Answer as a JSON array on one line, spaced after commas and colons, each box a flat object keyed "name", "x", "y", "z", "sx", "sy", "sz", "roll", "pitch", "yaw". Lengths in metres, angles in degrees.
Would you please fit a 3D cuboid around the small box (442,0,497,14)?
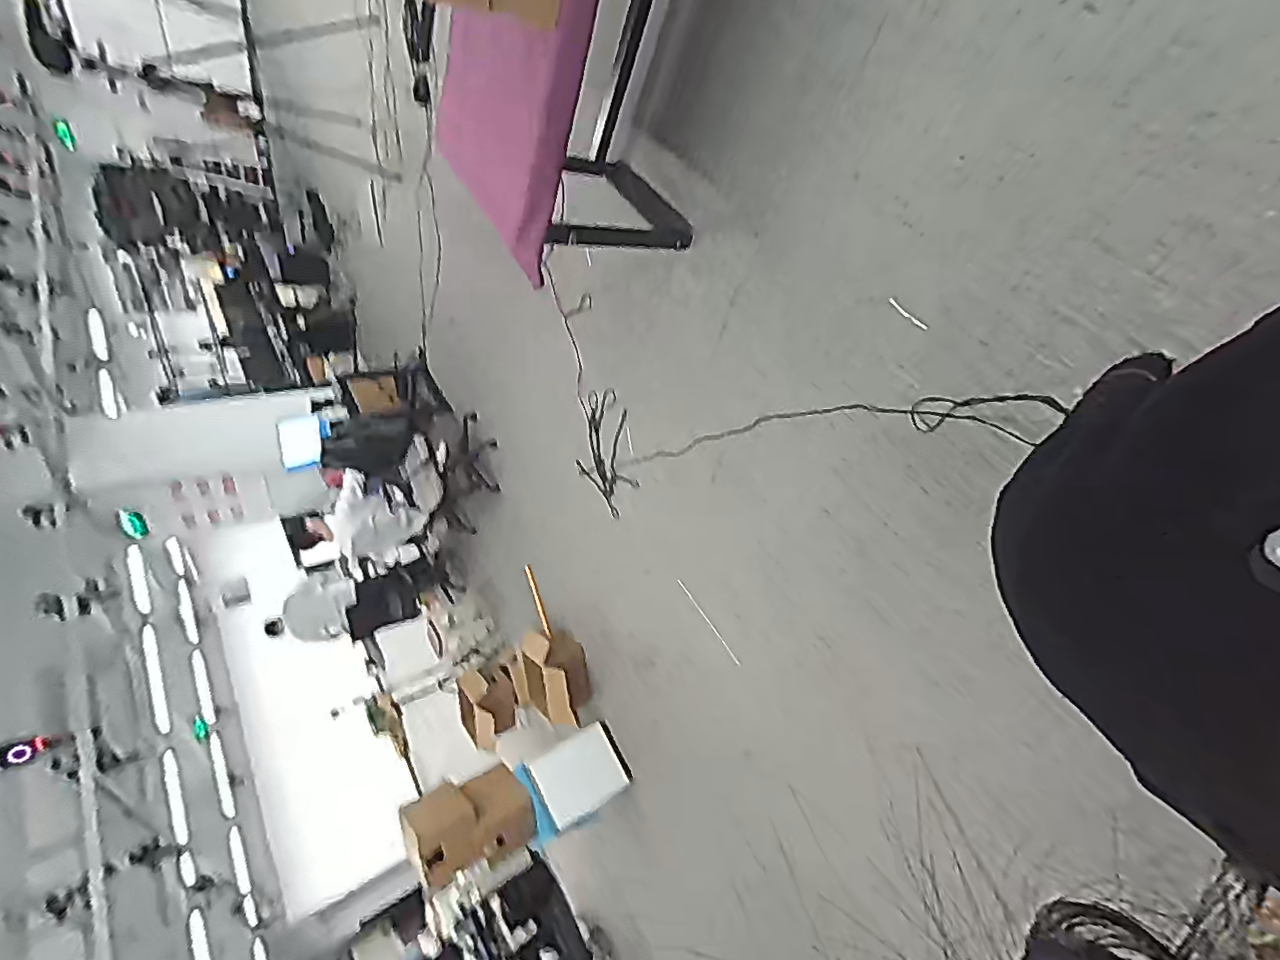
[{"name": "small box", "x": -0.386, "y": -1.098, "z": 1.093, "sx": 0.168, "sy": 0.176, "sz": 0.179, "roll": 57, "pitch": 142, "yaw": 26}]
